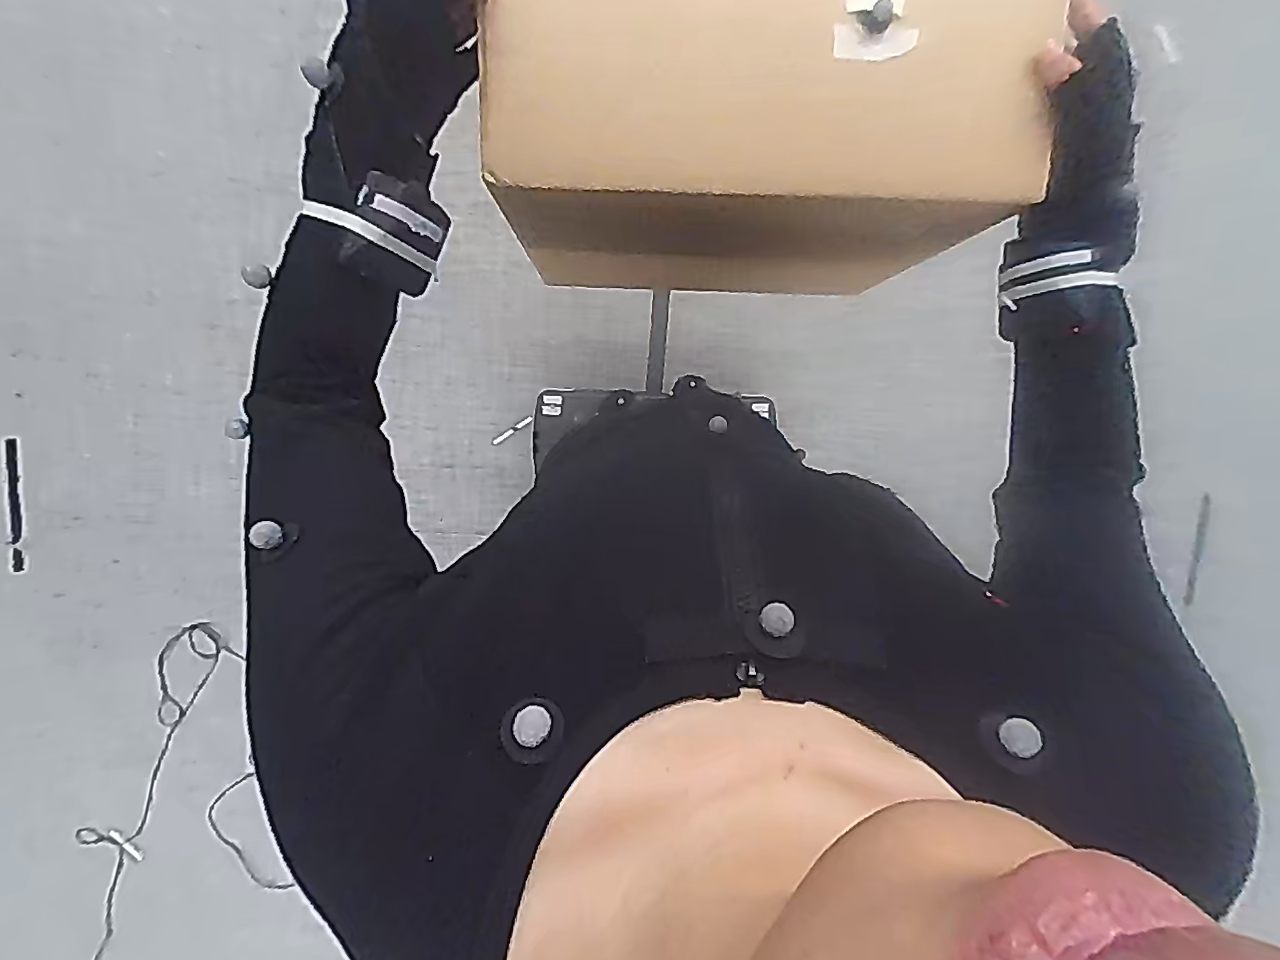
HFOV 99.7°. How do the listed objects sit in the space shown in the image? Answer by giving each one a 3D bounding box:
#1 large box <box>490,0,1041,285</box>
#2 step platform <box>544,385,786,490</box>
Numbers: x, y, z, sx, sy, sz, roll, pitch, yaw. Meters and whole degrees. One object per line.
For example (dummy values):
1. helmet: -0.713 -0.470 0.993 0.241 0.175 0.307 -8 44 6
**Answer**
1. large box: 0.084 -0.385 0.528 0.408 0.320 0.320 1 98 -3
2. step platform: 0.069 -0.123 1.563 0.684 0.204 0.286 1 98 -4
